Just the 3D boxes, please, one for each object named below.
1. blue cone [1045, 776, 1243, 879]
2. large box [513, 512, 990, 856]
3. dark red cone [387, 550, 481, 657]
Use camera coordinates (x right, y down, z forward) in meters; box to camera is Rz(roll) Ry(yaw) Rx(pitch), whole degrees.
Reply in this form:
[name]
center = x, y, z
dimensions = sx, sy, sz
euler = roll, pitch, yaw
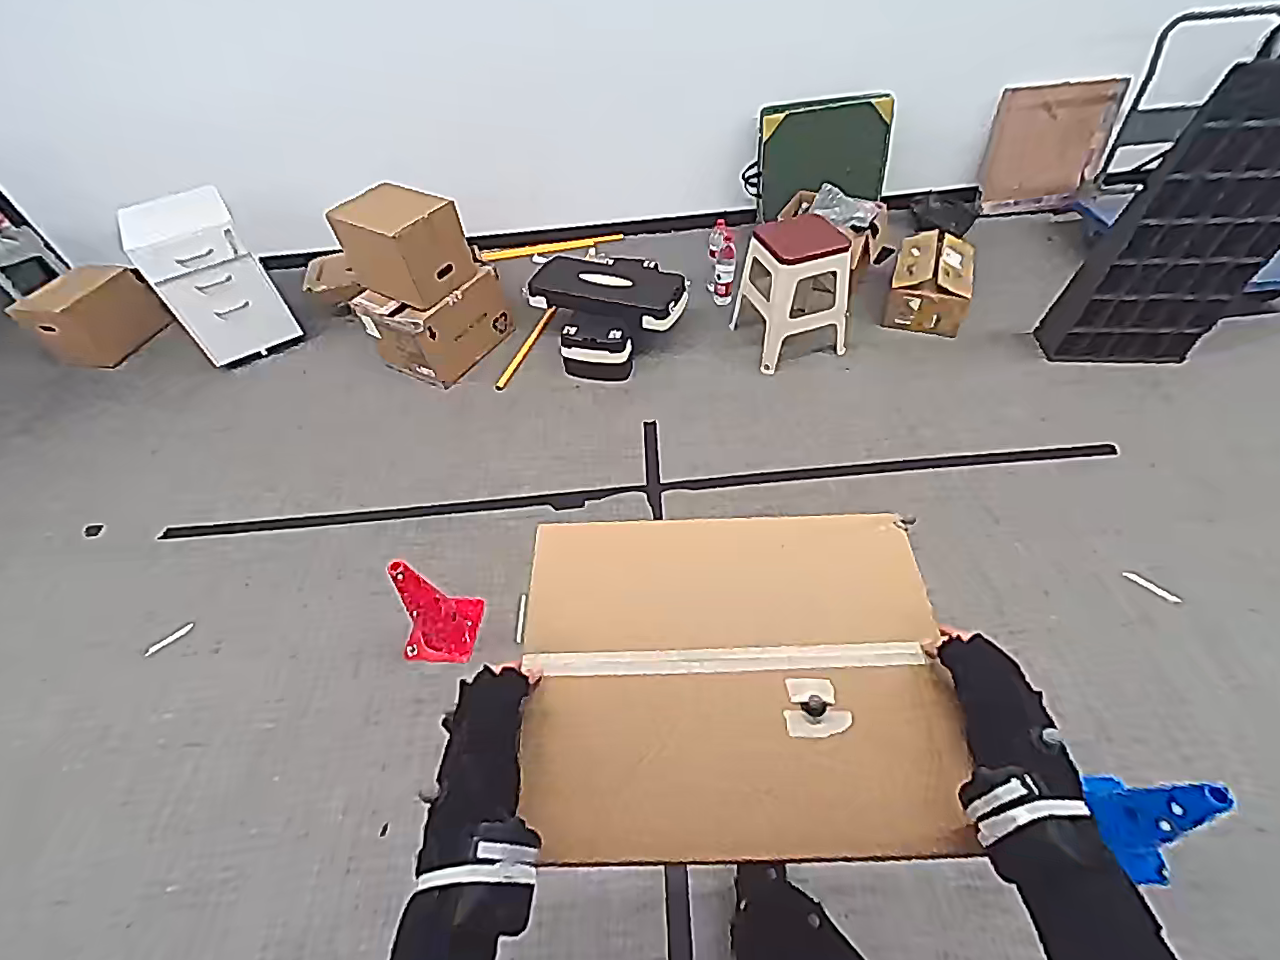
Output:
[blue cone]
center = 1.001, 0.649, 1.057
dimensions = 0.192, 0.380, 0.193
euler = -2, 50, 3
[large box]
center = 0.091, 0.255, 0.650
dimensions = 0.408, 0.320, 0.320
euler = -2, 55, 1
[dark red cone]
center = -0.586, 0.314, 1.455
dimensions = 0.201, 0.394, 0.202
euler = 0, 50, 5
